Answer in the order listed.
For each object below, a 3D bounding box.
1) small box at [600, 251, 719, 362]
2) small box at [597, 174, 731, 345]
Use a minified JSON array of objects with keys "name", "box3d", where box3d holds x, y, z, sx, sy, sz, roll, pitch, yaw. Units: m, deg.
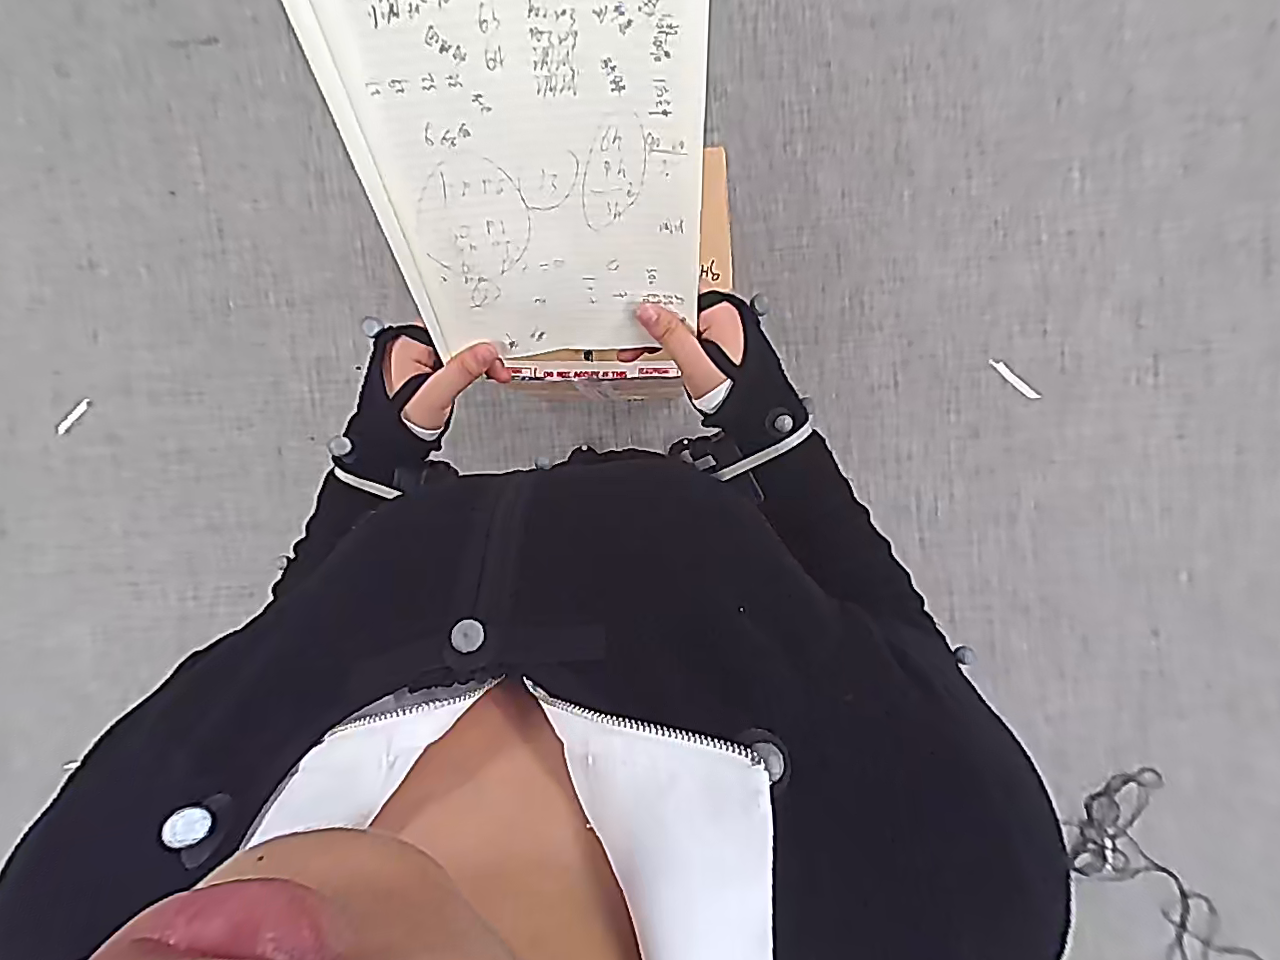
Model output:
[{"name":"small box","box3d":[0.030,-0.301,0.926,0.179,0.176,0.168,-6,94,1]},{"name":"small box","box3d":[0.028,-0.298,0.762,0.168,0.176,0.179,-4,94,-1]}]
